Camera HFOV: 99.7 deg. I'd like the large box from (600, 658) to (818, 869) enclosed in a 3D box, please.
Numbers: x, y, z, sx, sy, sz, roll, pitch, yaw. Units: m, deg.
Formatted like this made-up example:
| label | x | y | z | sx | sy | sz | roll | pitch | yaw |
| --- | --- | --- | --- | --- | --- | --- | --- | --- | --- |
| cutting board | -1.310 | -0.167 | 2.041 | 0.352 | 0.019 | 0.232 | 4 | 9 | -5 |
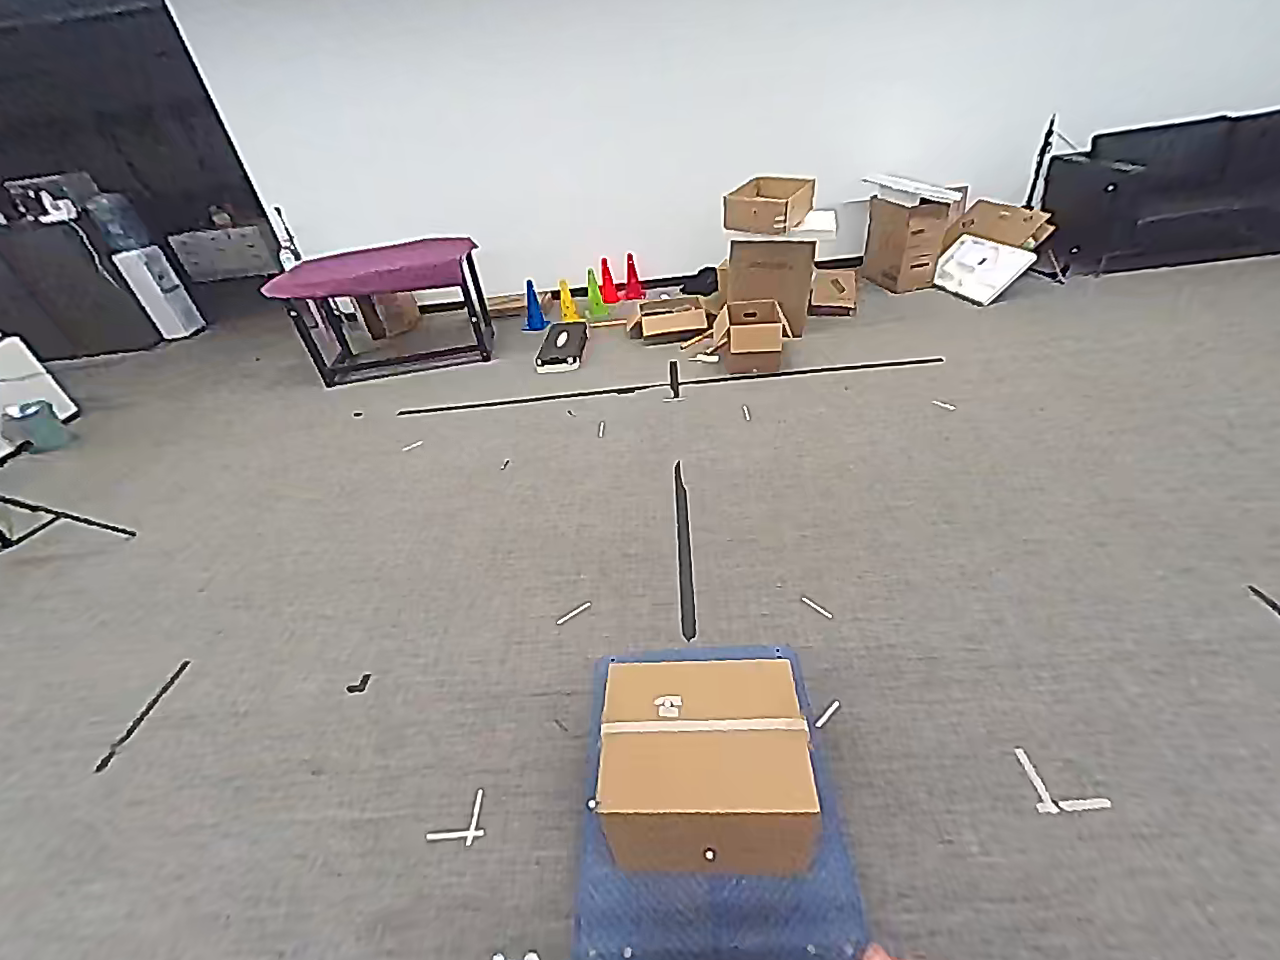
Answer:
| label | x | y | z | sx | sy | sz | roll | pitch | yaw |
| --- | --- | --- | --- | --- | --- | --- | --- | --- | --- |
| large box | 0.146 | 0.623 | 1.188 | 0.408 | 0.320 | 0.320 | -5 | 36 | 6 |
